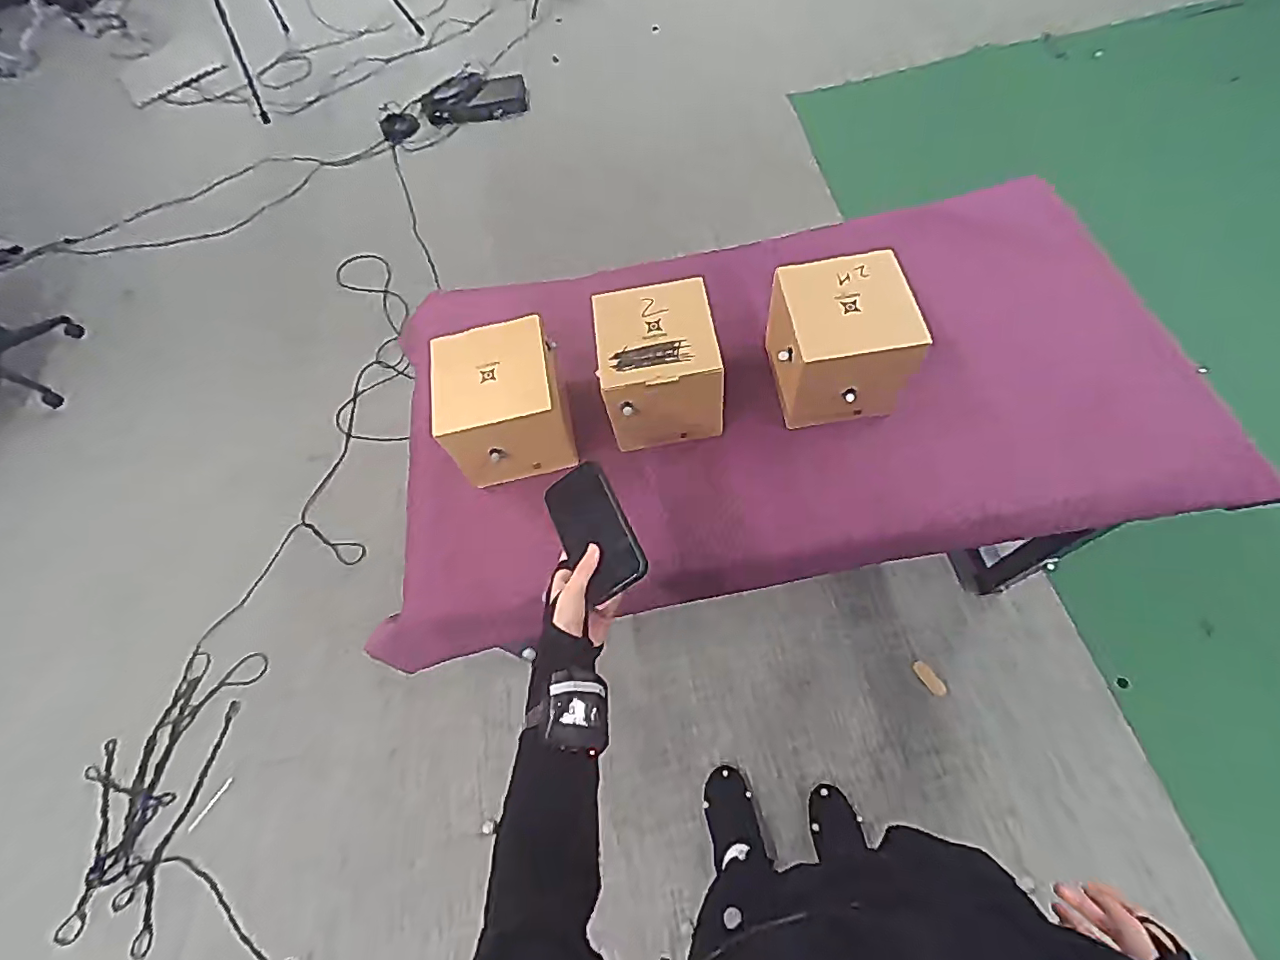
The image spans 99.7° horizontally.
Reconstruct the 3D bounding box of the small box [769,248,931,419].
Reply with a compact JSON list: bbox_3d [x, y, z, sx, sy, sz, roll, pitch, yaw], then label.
[{"bbox_3d":[0.293,-0.204,0.798,0.168,0.176,0.179,-7,62,3],"label":"small box"}]

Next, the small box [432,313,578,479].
[{"bbox_3d":[-0.199,-0.117,0.823,0.168,0.176,0.179,-13,62,1],"label":"small box"}]
